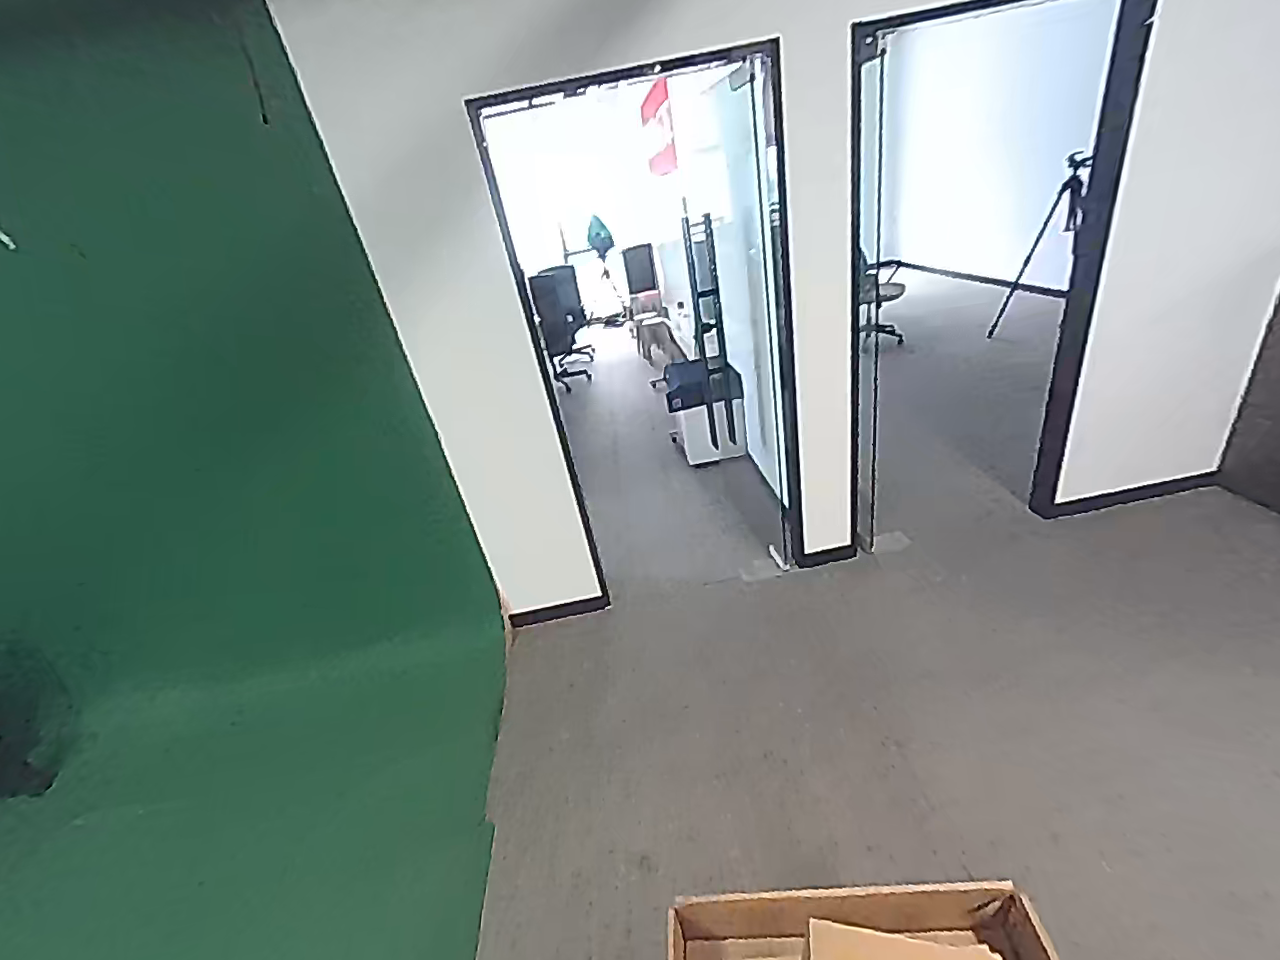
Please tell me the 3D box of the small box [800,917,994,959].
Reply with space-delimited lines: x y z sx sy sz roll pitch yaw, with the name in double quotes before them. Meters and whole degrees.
"small box" 0.233 0.542 0.490 0.168 0.176 0.179 2 40 13
